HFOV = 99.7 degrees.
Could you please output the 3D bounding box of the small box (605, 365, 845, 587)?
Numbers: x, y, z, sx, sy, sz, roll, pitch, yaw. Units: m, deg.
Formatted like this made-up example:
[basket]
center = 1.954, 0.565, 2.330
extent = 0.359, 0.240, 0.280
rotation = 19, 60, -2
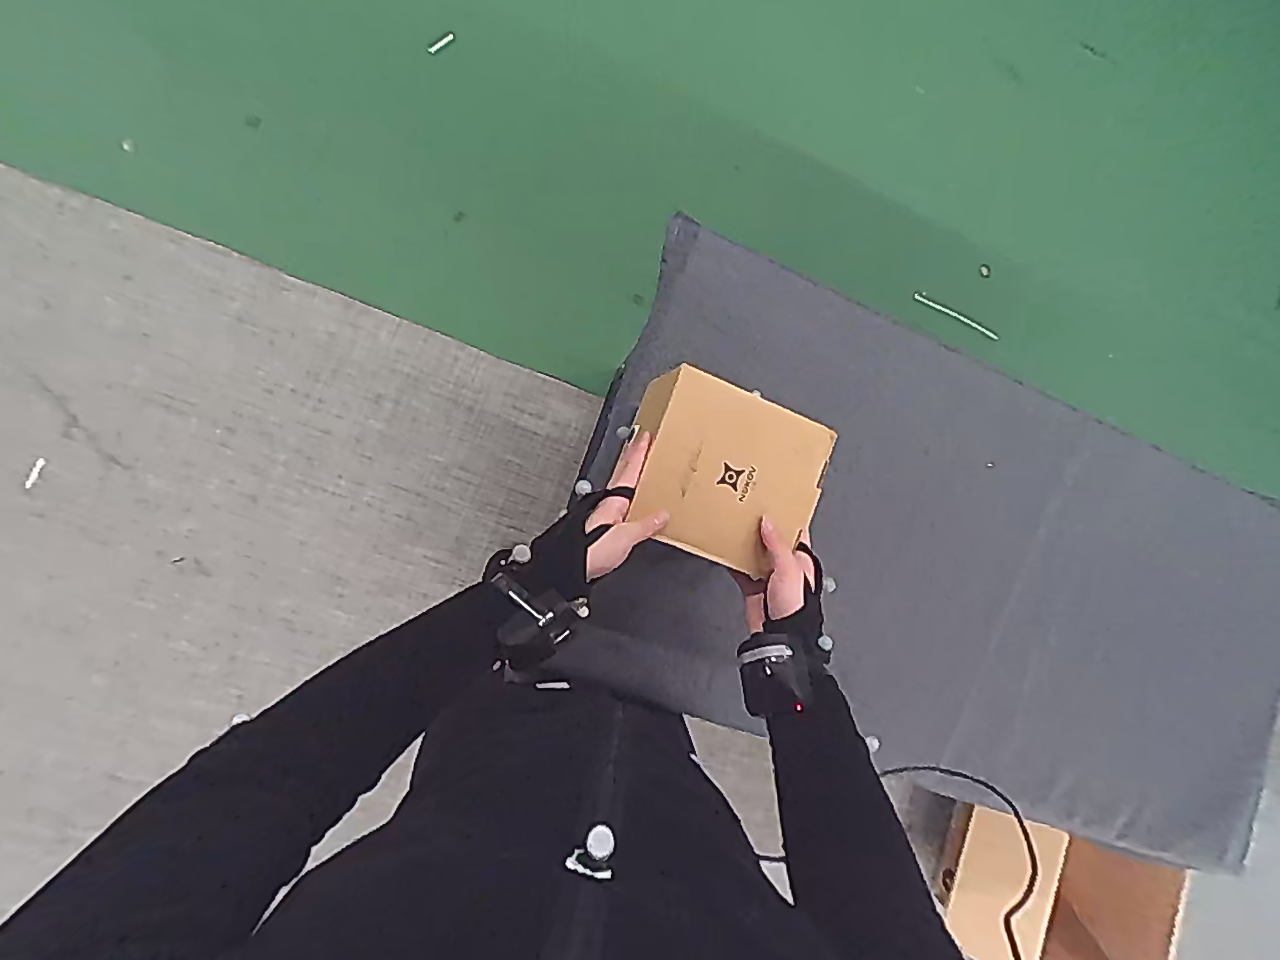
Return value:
[small box]
center = 0.077, -0.006, 0.582
extent = 0.179, 0.176, 0.168
rotation = 21, 89, -11
